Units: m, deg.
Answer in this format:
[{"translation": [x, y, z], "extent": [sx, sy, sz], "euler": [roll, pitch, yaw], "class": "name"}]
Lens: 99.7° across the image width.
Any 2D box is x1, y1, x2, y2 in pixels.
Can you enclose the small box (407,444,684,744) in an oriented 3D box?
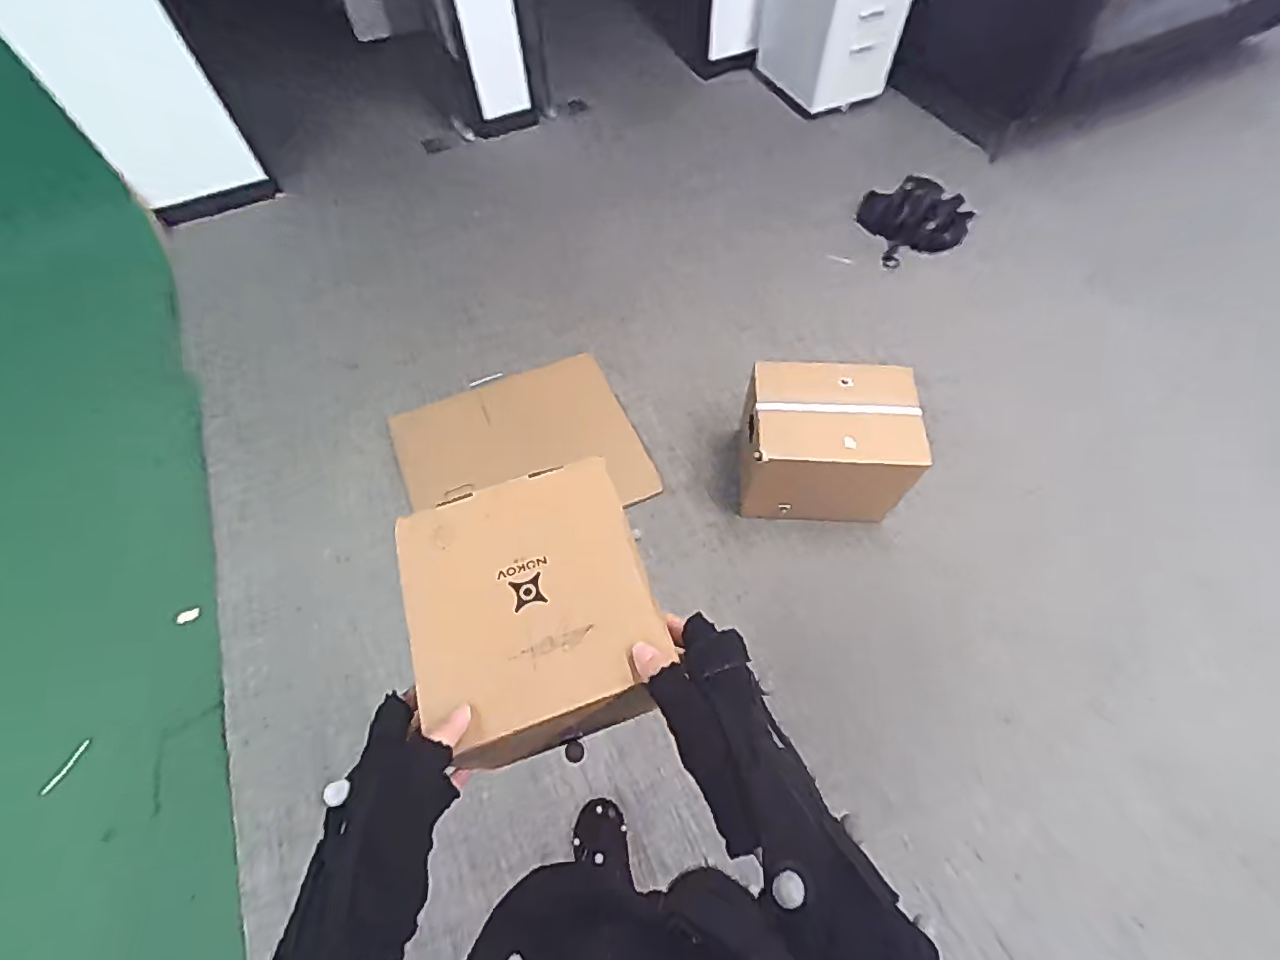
[{"translation": [-0.072, 0.103, 0.453], "extent": [0.168, 0.176, 0.179], "euler": [-19, 63, -7], "class": "small box"}]
